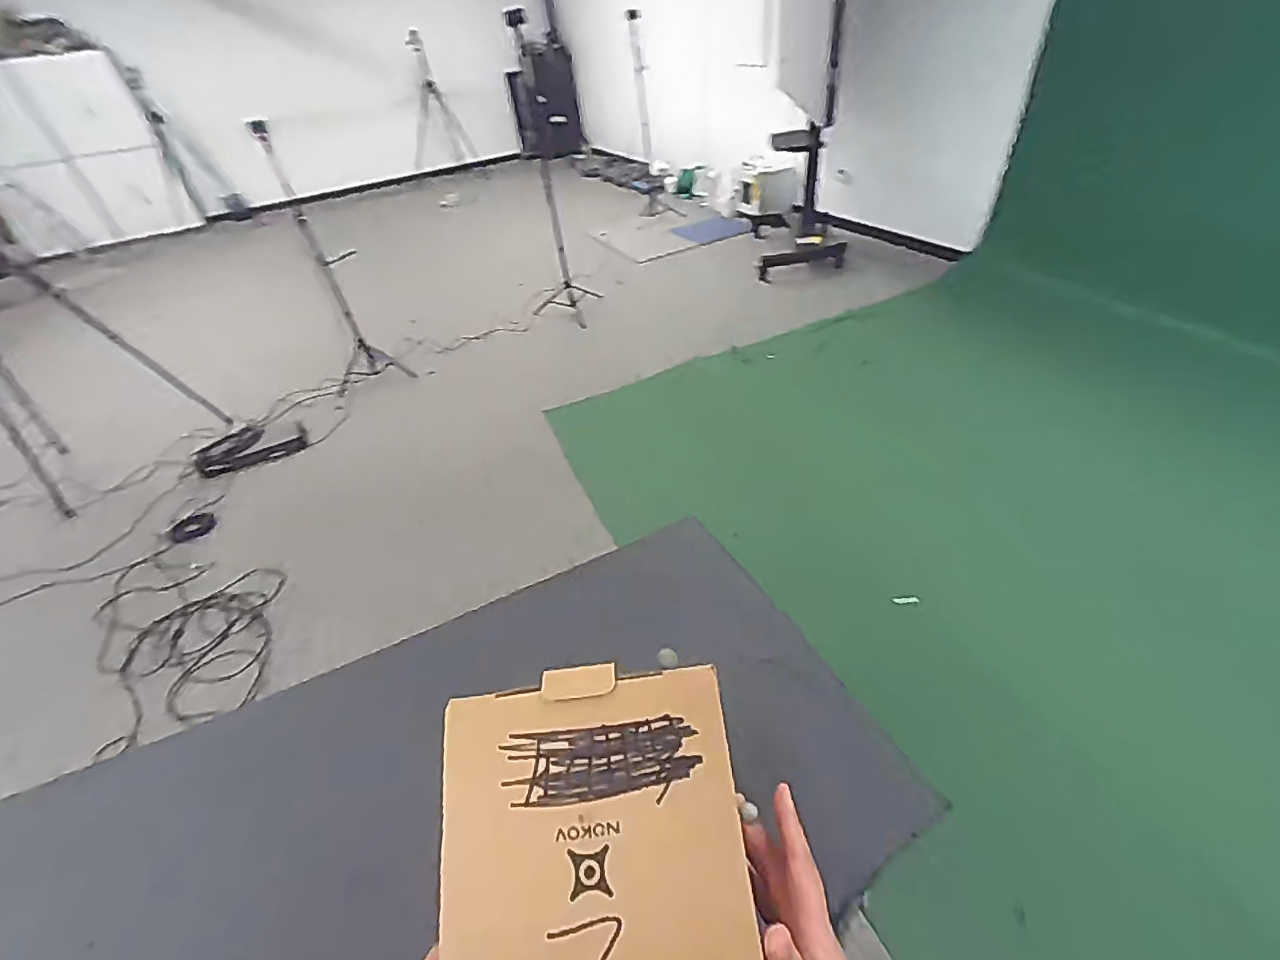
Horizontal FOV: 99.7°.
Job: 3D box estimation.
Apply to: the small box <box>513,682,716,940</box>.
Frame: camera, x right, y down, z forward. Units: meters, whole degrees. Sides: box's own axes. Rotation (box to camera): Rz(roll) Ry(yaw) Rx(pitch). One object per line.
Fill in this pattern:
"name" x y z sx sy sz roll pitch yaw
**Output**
"small box" -0.024 0.377 0.615 0.168 0.176 0.179 -22 41 -16
